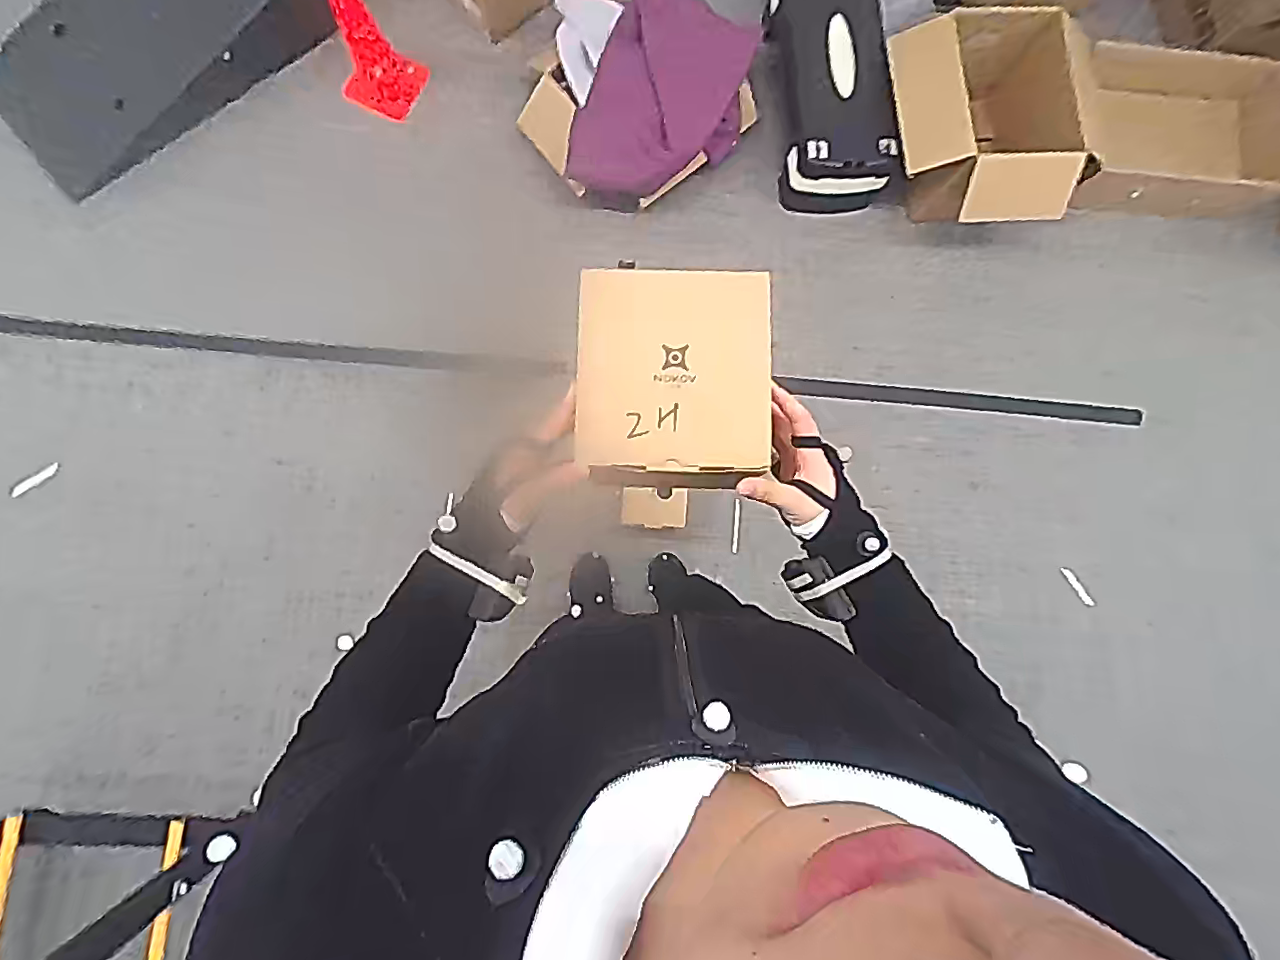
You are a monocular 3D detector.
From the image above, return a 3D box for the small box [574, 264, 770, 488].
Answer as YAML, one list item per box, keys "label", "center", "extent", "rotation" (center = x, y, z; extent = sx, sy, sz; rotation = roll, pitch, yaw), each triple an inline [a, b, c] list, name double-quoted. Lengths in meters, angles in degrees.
- label: "small box"
  center: [0.028, -0.090, 0.538]
  extent: [0.168, 0.176, 0.179]
  rotation: [1, 84, 1]

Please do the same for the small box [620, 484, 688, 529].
- label: "small box"
  center: [0.036, 0.038, 1.446]
  extent: [0.168, 0.176, 0.179]
  rotation: [5, 84, -2]
